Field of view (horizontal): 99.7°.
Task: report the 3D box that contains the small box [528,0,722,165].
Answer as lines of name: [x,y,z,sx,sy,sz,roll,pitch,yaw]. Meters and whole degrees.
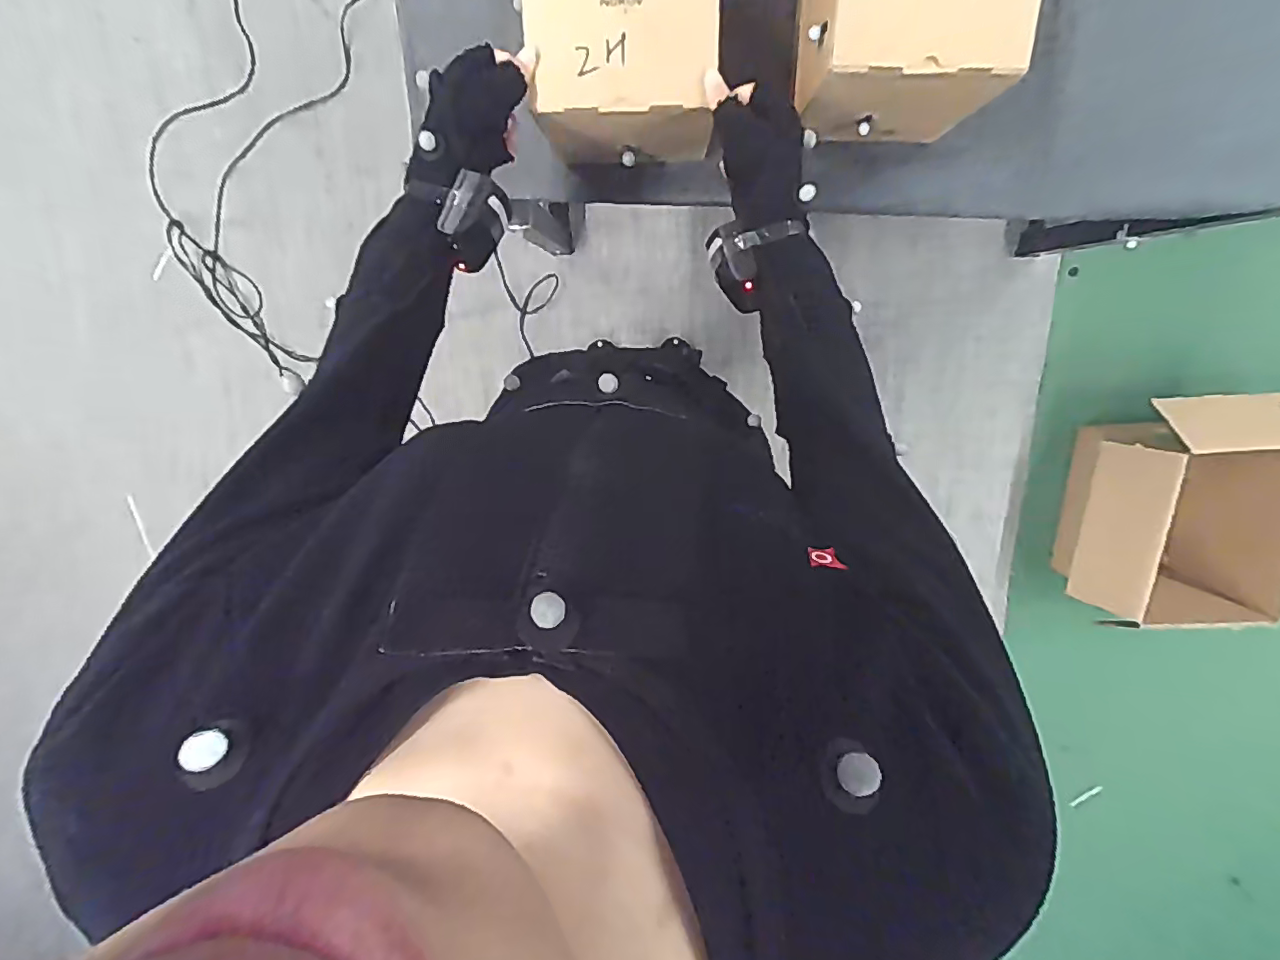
small box: [-0.011,-0.429,0.526,0.168,0.176,0.179,0,107,2]
